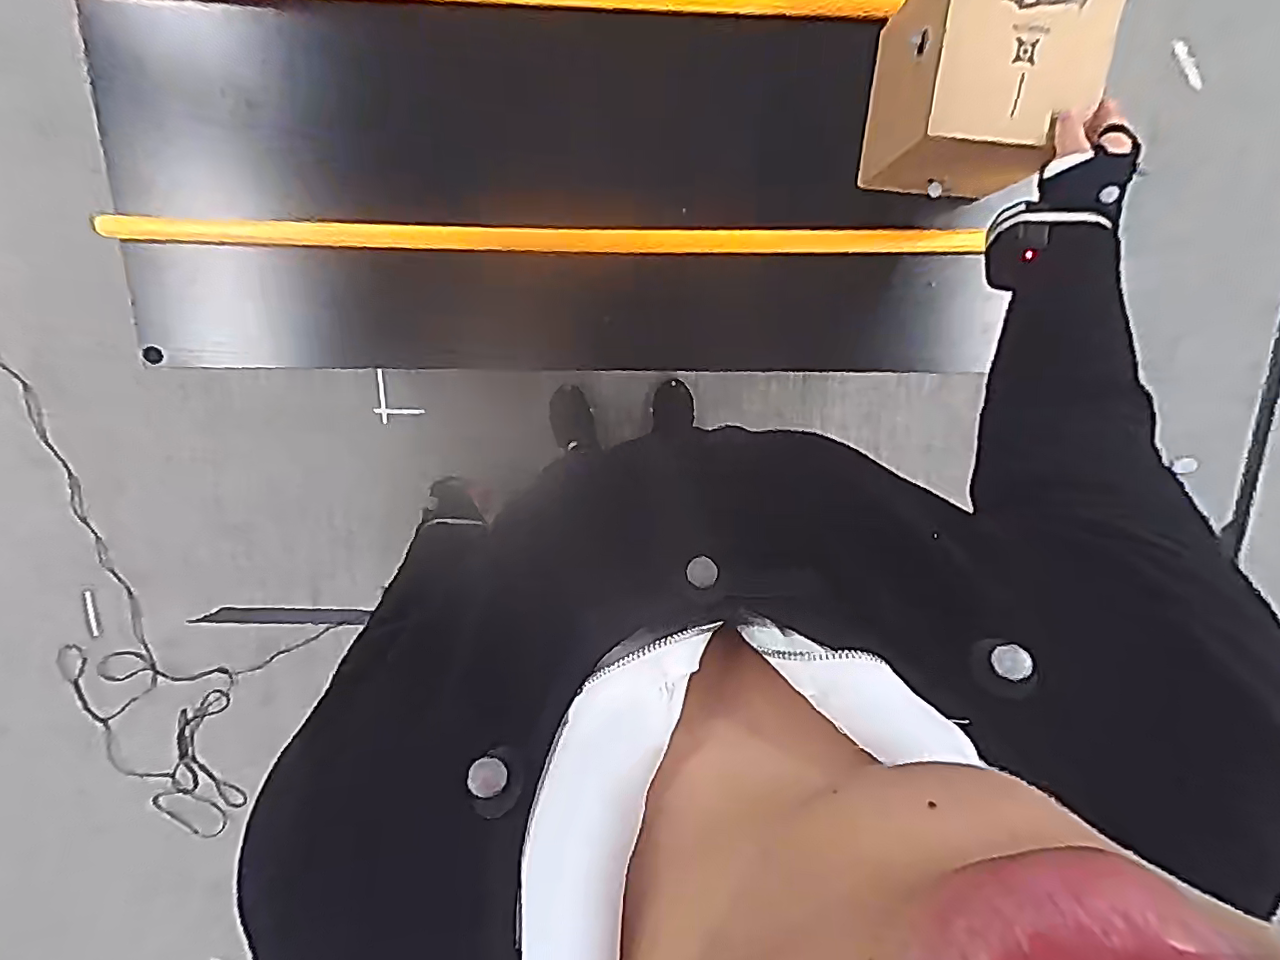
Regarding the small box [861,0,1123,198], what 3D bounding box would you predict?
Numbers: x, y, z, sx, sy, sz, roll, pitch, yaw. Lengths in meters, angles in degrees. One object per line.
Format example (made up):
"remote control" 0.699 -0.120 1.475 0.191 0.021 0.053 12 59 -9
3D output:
"small box" 0.363 -0.433 0.589 0.168 0.176 0.179 5 103 -2
